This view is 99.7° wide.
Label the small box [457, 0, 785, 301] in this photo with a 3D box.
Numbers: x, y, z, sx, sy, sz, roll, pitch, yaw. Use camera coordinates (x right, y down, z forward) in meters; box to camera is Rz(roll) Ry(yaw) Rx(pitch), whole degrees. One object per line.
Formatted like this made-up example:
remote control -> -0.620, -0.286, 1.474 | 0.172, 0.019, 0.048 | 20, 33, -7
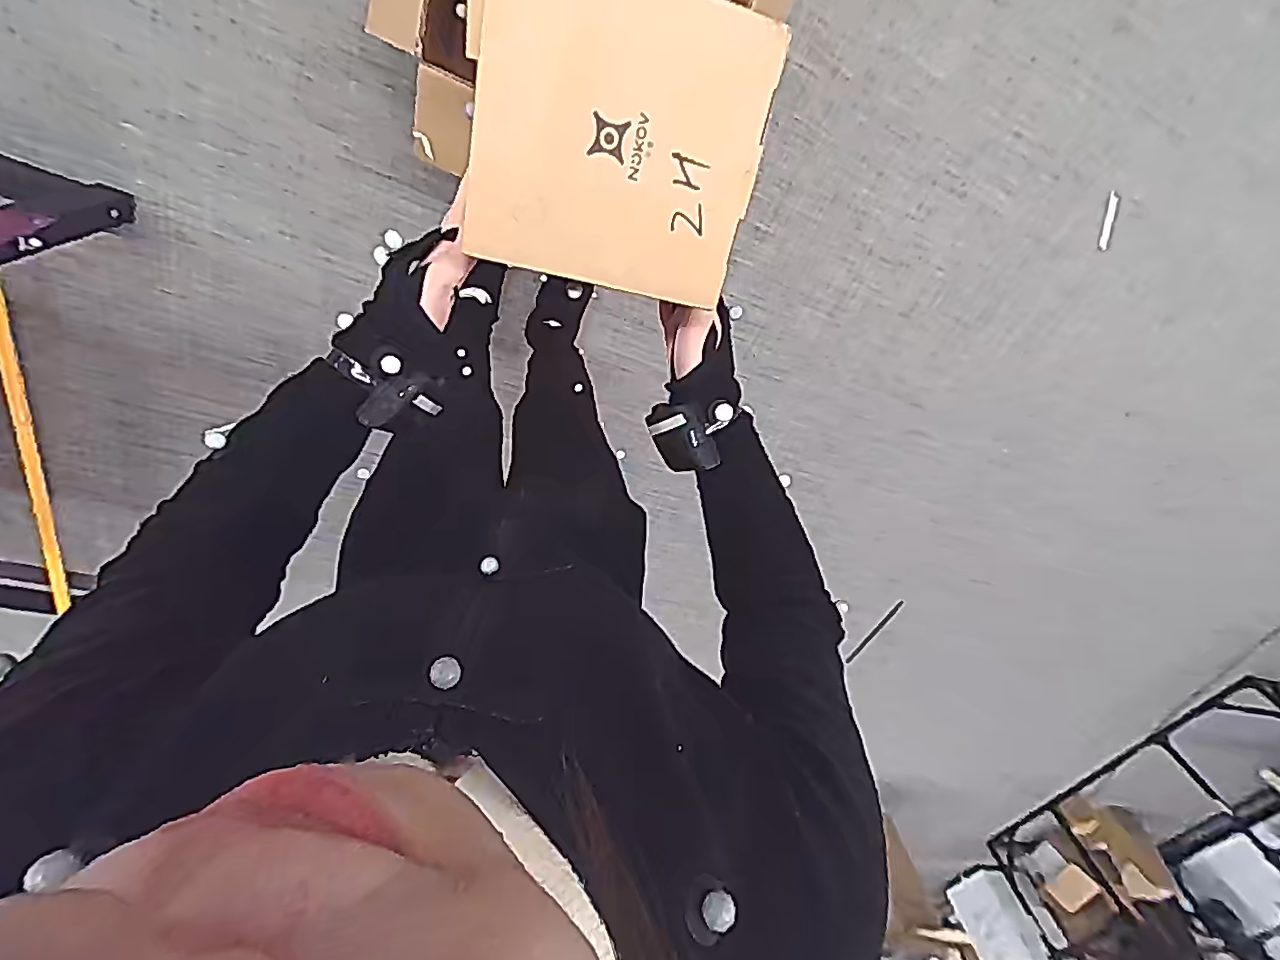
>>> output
small box -> -0.027, -0.243, 0.401 | 0.179, 0.176, 0.168 | 8, 114, -14
